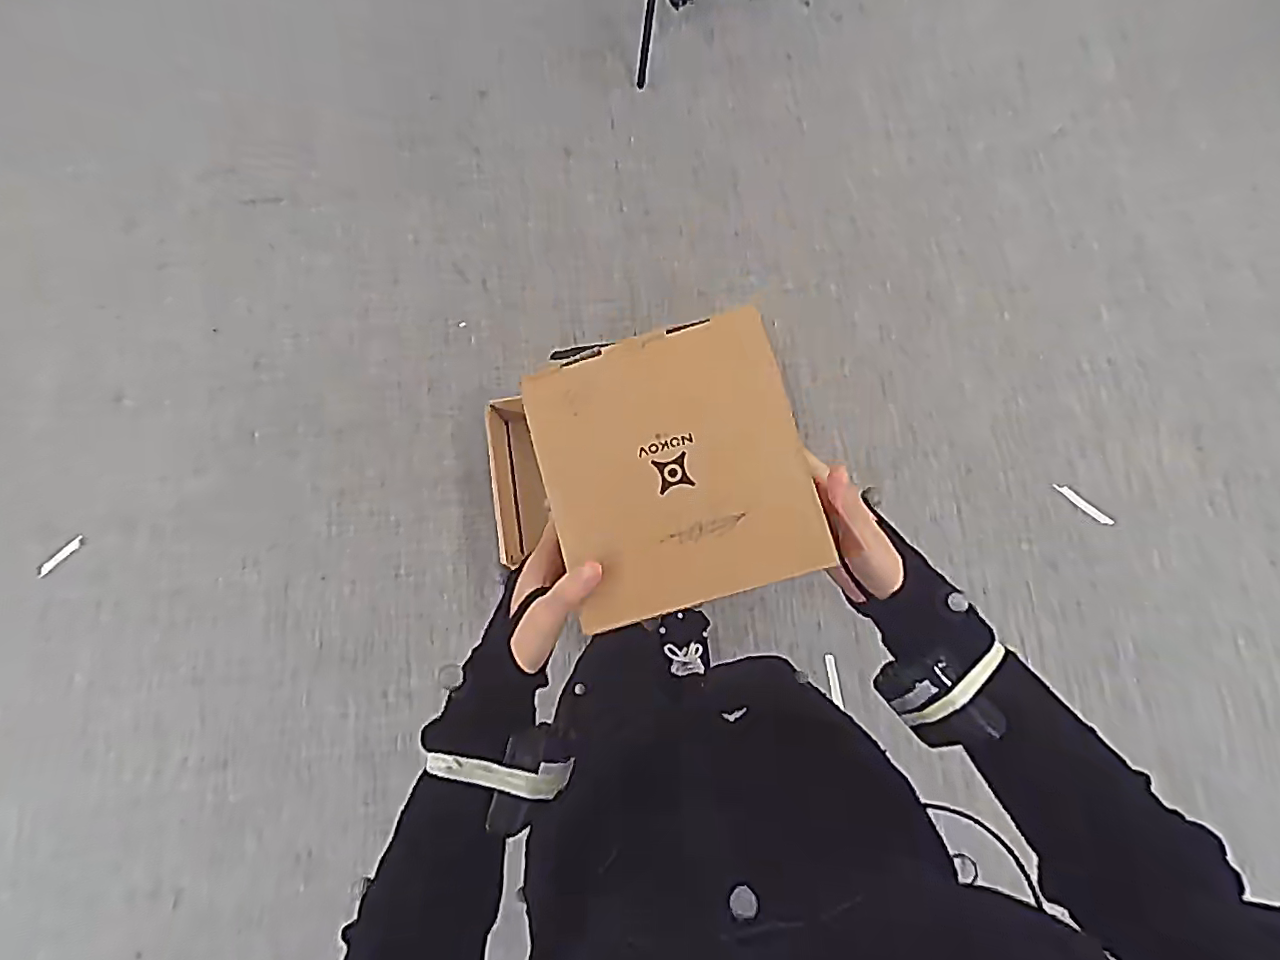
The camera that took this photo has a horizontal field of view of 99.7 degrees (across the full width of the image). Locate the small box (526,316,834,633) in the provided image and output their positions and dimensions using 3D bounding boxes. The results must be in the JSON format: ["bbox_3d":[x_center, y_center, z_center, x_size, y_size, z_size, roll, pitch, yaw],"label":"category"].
[{"bbox_3d":[0.028,0.003,0.427,0.168,0.176,0.179,-16,84,4],"label":"small box"}]
